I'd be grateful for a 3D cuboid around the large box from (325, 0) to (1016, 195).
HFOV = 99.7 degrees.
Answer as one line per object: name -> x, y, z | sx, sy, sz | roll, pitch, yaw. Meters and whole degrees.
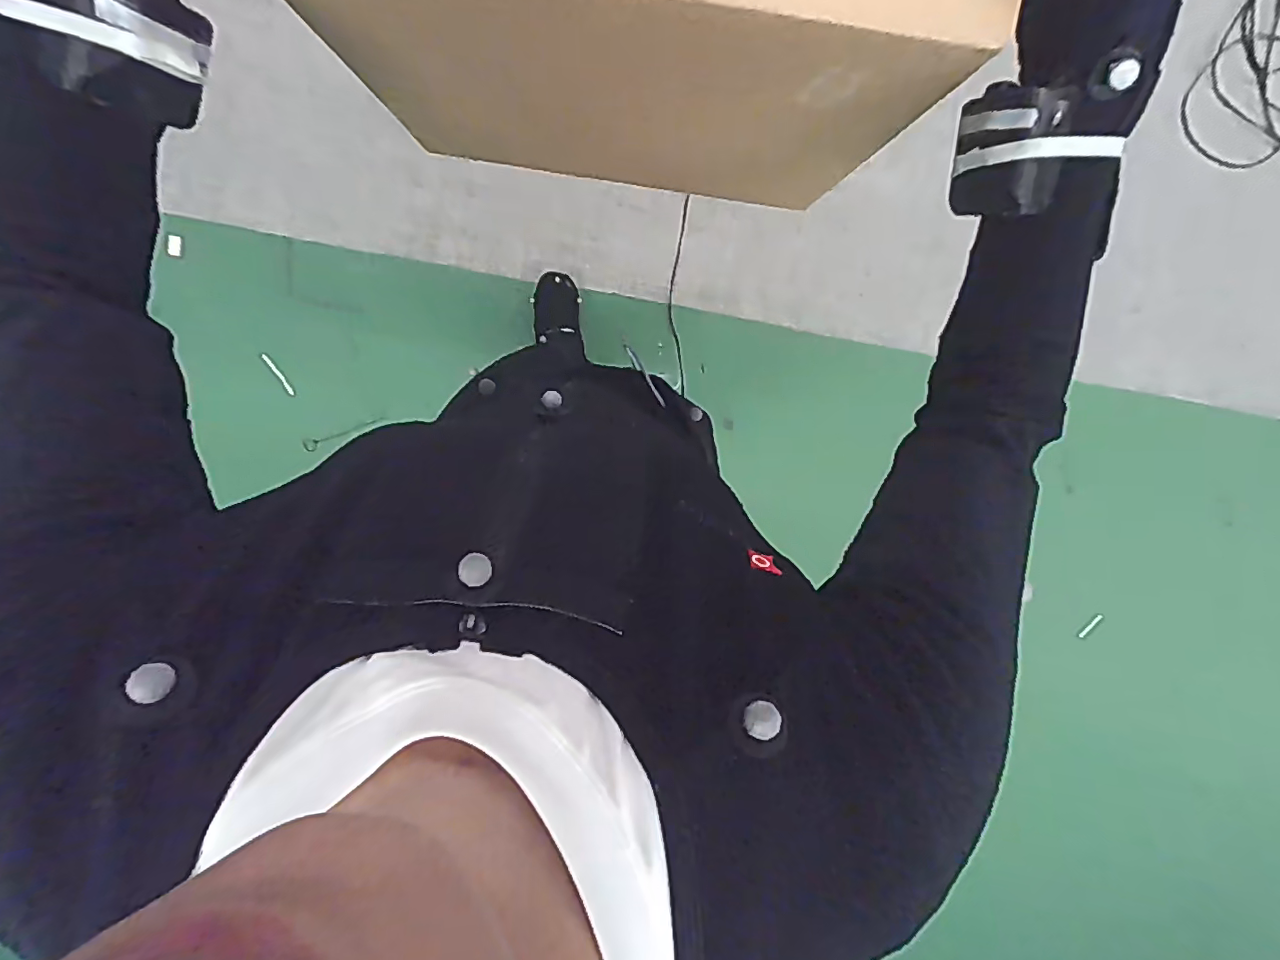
large box -> 0.010, -0.437, 0.391 | 0.408, 0.320, 0.320 | 6, 103, -5
